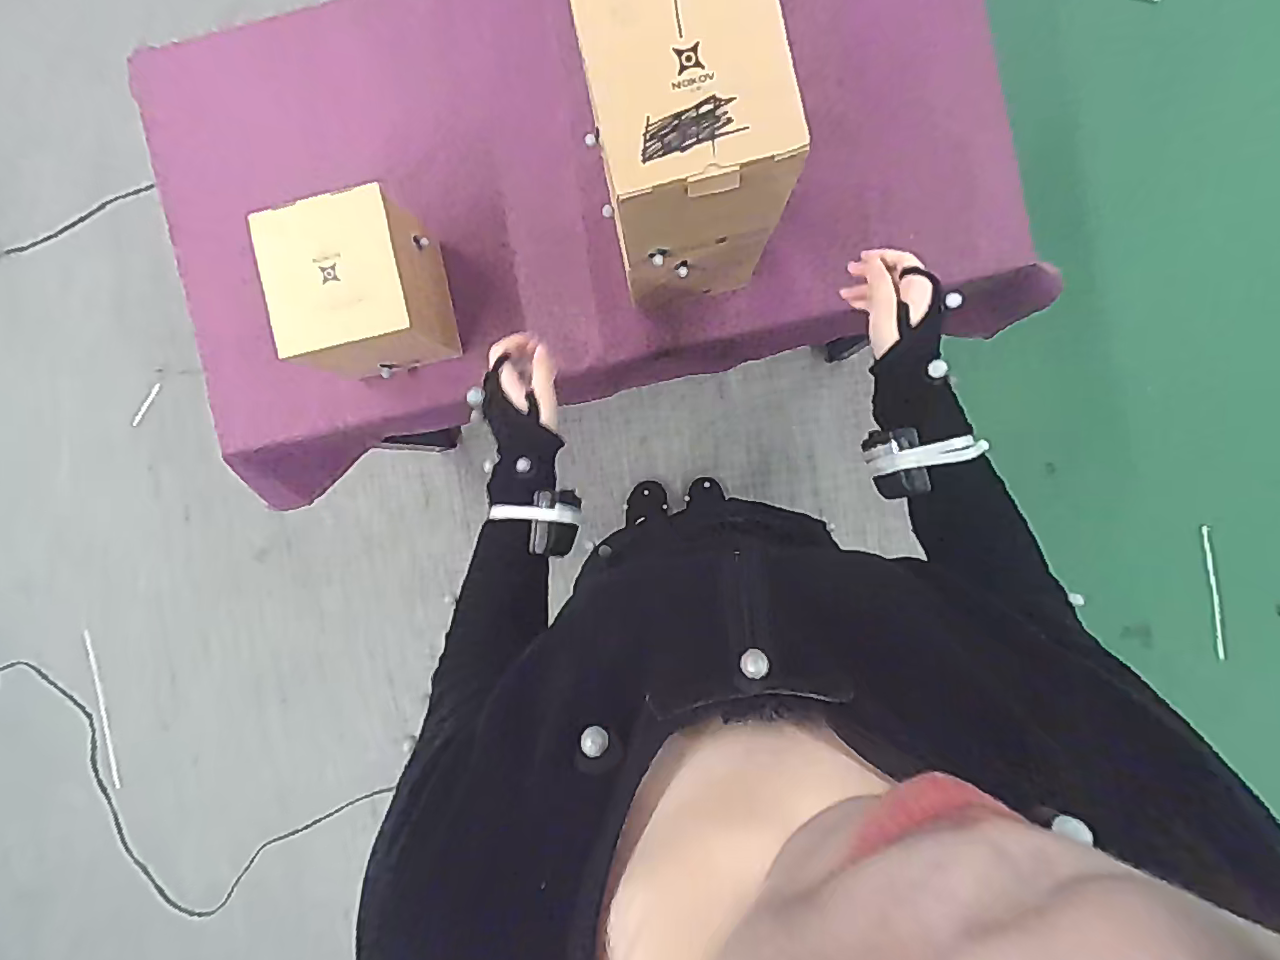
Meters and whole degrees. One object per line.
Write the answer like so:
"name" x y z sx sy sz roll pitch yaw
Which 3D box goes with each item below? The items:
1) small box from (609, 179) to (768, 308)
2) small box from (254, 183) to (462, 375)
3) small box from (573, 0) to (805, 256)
"small box" 0.053 -0.343 0.691 0.168 0.176 0.179 -12 91 4
"small box" -0.357 -0.251 0.716 0.168 0.176 0.179 -11 92 4
"small box" 0.045 -0.339 0.526 0.168 0.176 0.179 -13 91 3
